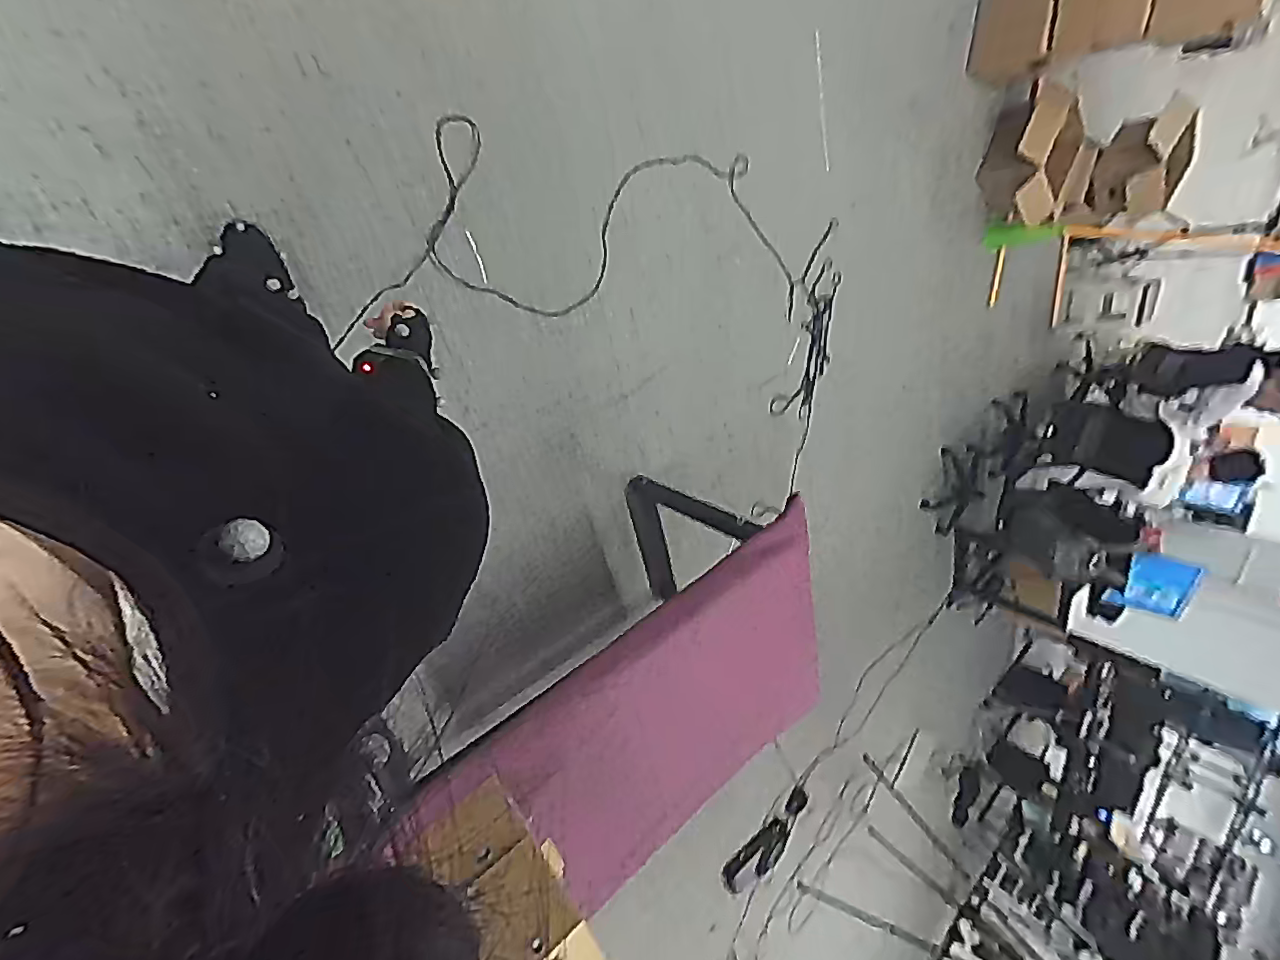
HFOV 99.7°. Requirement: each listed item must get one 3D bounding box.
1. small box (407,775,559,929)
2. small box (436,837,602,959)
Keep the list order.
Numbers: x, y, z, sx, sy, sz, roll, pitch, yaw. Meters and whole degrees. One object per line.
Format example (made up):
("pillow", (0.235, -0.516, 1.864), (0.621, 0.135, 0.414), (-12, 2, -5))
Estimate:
("small box", (-0.275, 0.669, 0.948), (0.179, 0.176, 0.168), (-32, 122, -26))
("small box", (-0.179, 0.695, 0.817), (0.168, 0.176, 0.179), (-30, 122, -28))
